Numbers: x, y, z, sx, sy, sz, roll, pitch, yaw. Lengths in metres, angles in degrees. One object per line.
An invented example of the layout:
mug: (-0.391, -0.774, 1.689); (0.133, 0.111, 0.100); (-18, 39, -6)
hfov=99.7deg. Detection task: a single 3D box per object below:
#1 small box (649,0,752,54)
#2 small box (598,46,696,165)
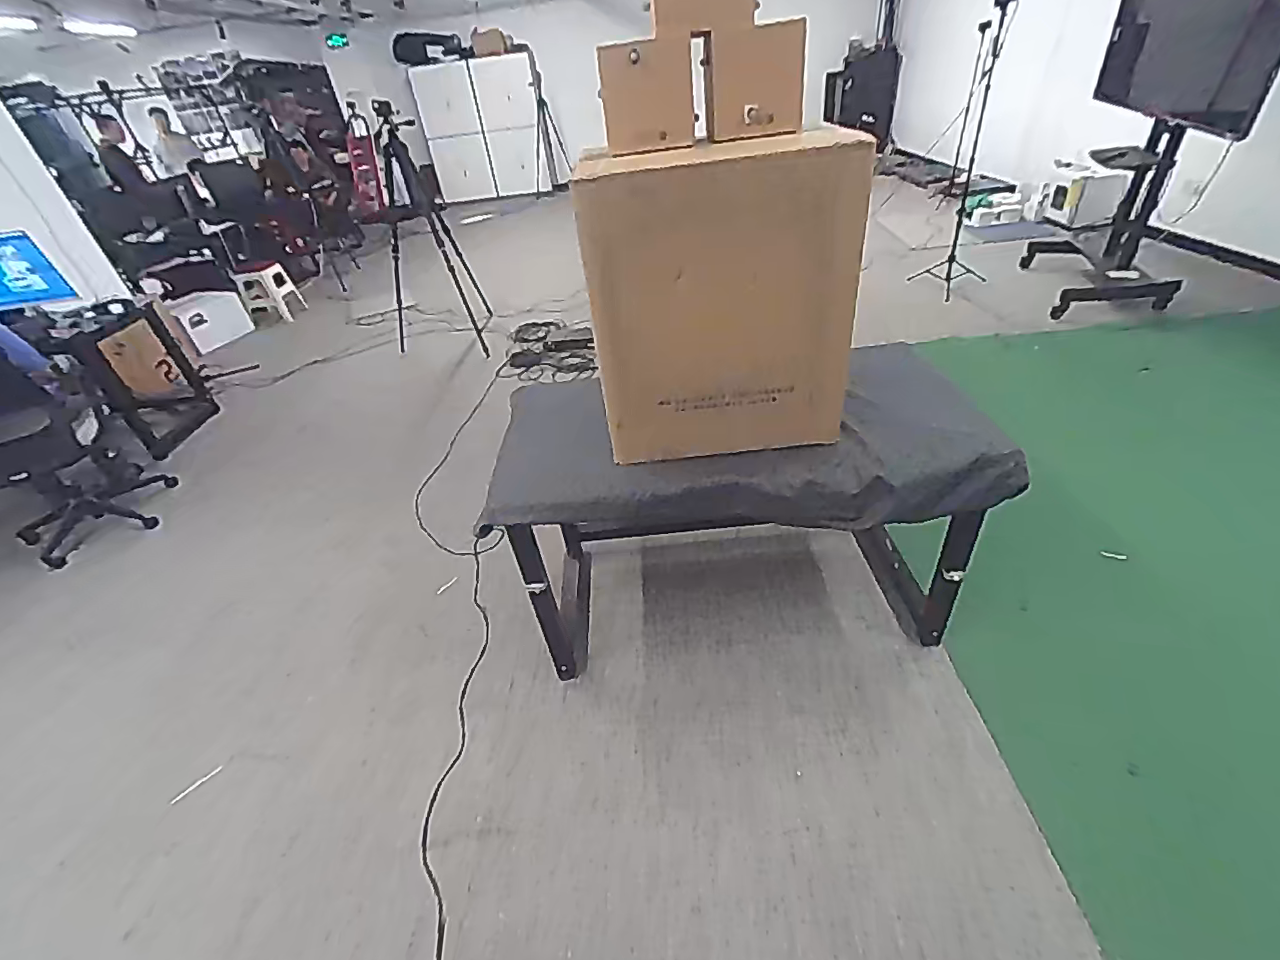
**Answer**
small box: (0.105, -0.877, 0.972); (0.179, 0.176, 0.168); (-6, 35, 2)
small box: (0.017, -0.726, 1.060); (0.168, 0.176, 0.179); (-6, 34, 4)
